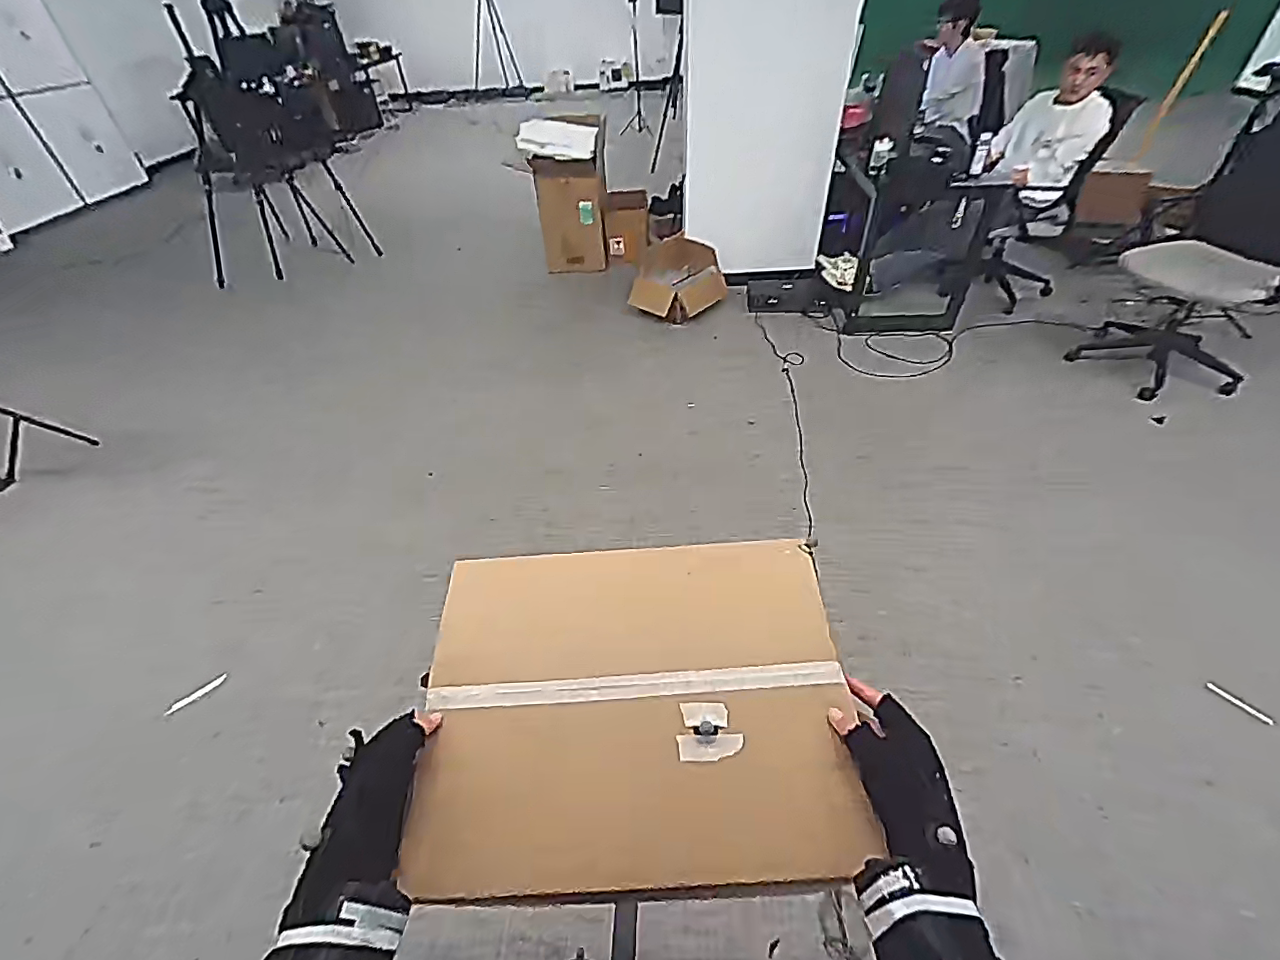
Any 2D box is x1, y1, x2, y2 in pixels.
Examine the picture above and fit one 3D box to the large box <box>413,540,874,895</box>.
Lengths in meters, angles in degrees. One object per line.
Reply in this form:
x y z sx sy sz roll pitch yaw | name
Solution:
0.001 0.298 0.664 0.408 0.320 0.320 -4 52 1 | large box
